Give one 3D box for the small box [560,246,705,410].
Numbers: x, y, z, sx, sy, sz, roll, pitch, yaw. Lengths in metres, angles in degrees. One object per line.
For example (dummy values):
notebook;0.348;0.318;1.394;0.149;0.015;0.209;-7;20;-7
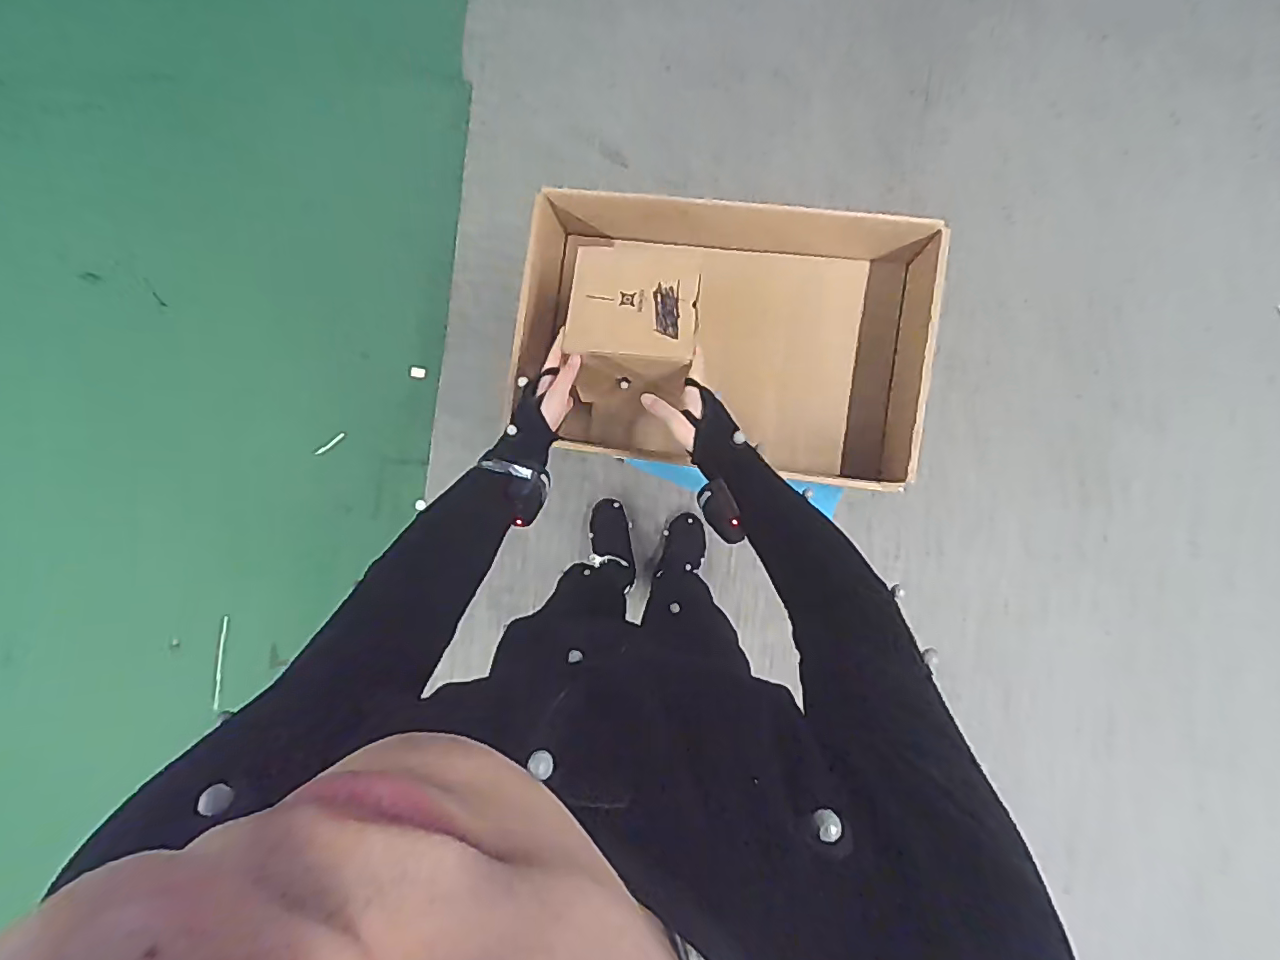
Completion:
small box;-0.004;-0.211;0.785;0.179;0.176;0.168;6;75;6
